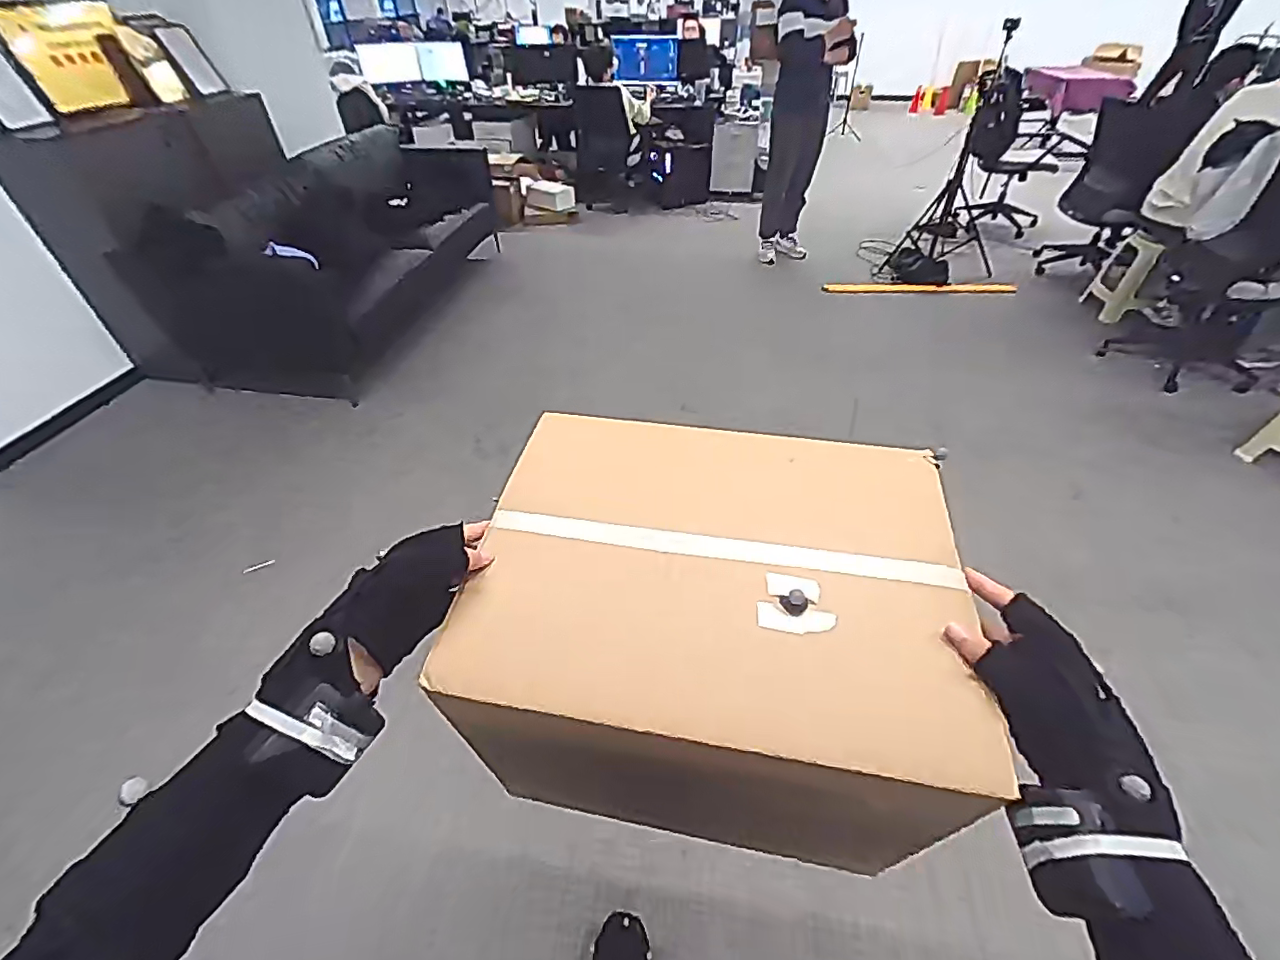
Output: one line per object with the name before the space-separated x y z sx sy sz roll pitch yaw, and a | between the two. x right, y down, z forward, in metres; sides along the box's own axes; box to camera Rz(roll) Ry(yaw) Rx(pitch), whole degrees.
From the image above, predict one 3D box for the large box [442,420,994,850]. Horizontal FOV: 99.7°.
large box | 0.070 0.162 0.591 0.408 0.320 0.320 7 48 9
